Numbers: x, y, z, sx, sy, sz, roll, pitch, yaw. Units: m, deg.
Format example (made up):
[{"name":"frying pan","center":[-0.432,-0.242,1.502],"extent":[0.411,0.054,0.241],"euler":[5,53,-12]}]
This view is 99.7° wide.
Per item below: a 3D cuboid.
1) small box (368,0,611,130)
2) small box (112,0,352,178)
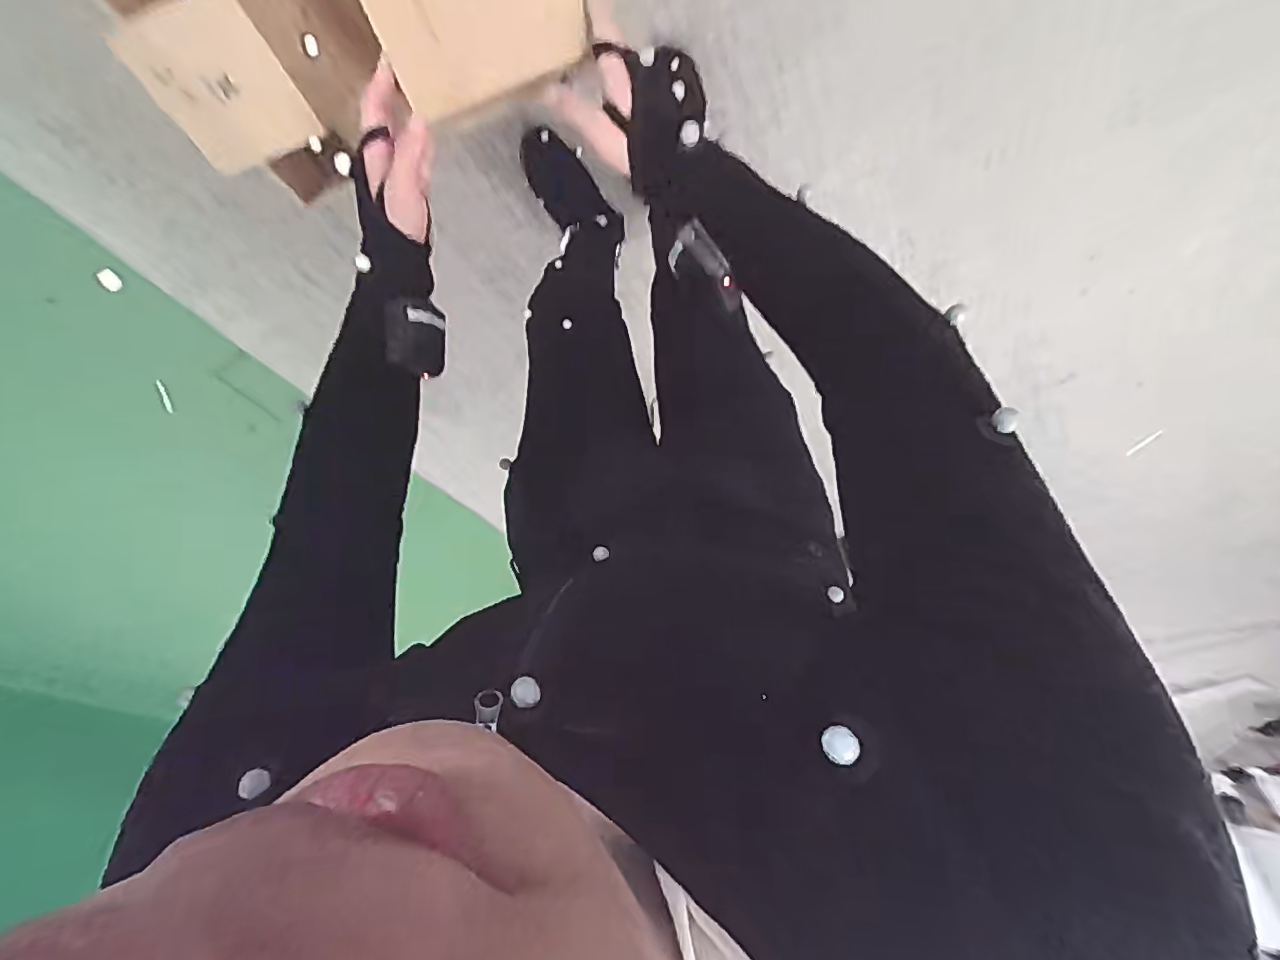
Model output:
[{"name":"small box","center":[-0.134,-0.440,0.488],"extent":[0.179,0.176,0.168],"euler":[-16,121,8]},{"name":"small box","center":[-0.520,-0.549,0.726],"extent":[0.179,0.176,0.168],"euler":[-14,138,11]}]
